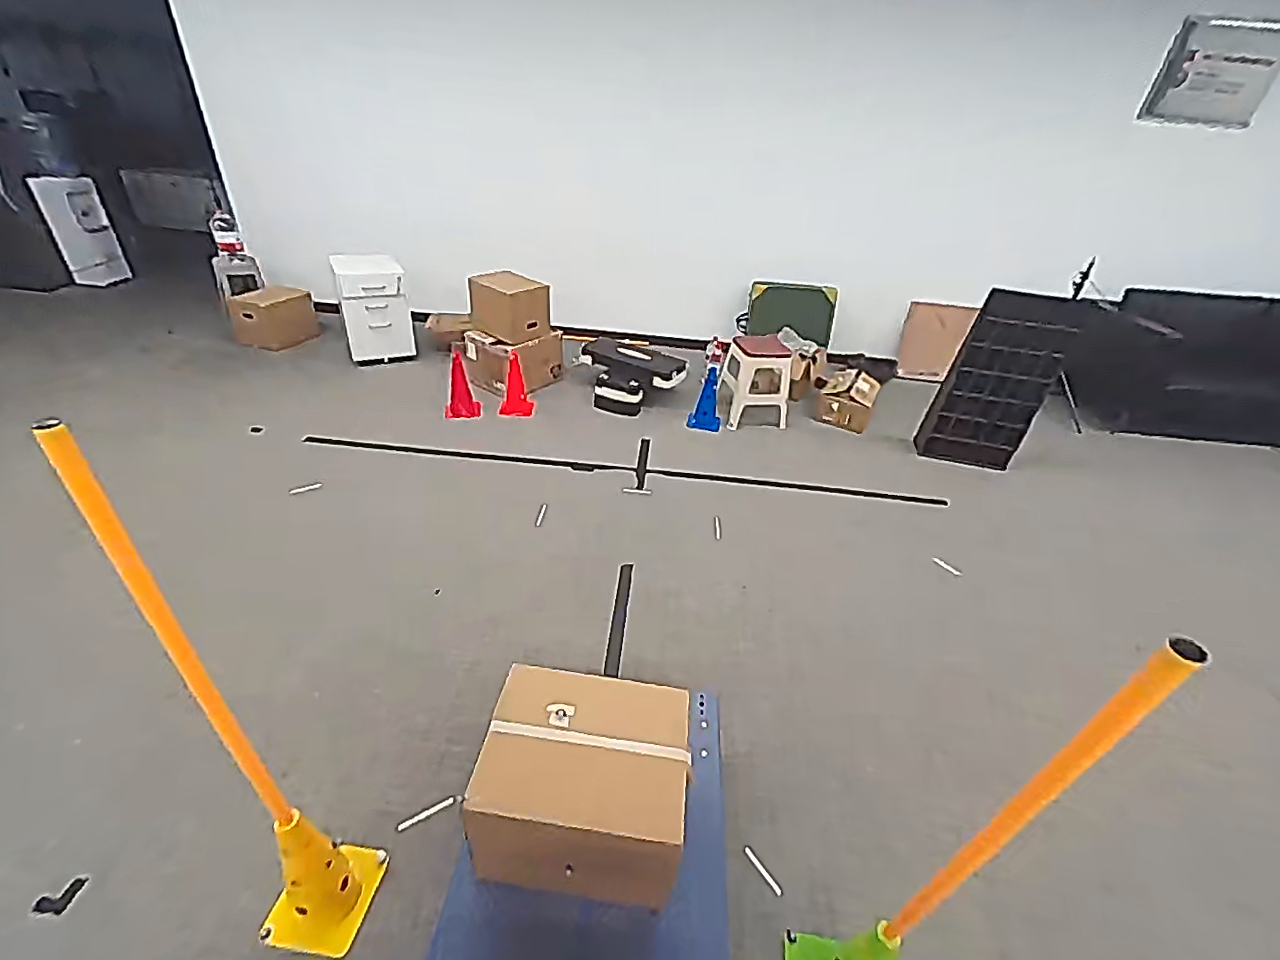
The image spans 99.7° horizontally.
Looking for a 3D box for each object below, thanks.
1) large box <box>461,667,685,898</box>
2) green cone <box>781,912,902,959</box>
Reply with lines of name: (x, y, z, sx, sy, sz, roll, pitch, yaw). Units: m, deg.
large box: (-0.120, 0.651, 1.175, 0.408, 0.320, 0.320, 7, 35, 4)
green cone: (0.425, 0.950, 1.066, 0.202, 0.368, 0.200, 10, 34, 4)
